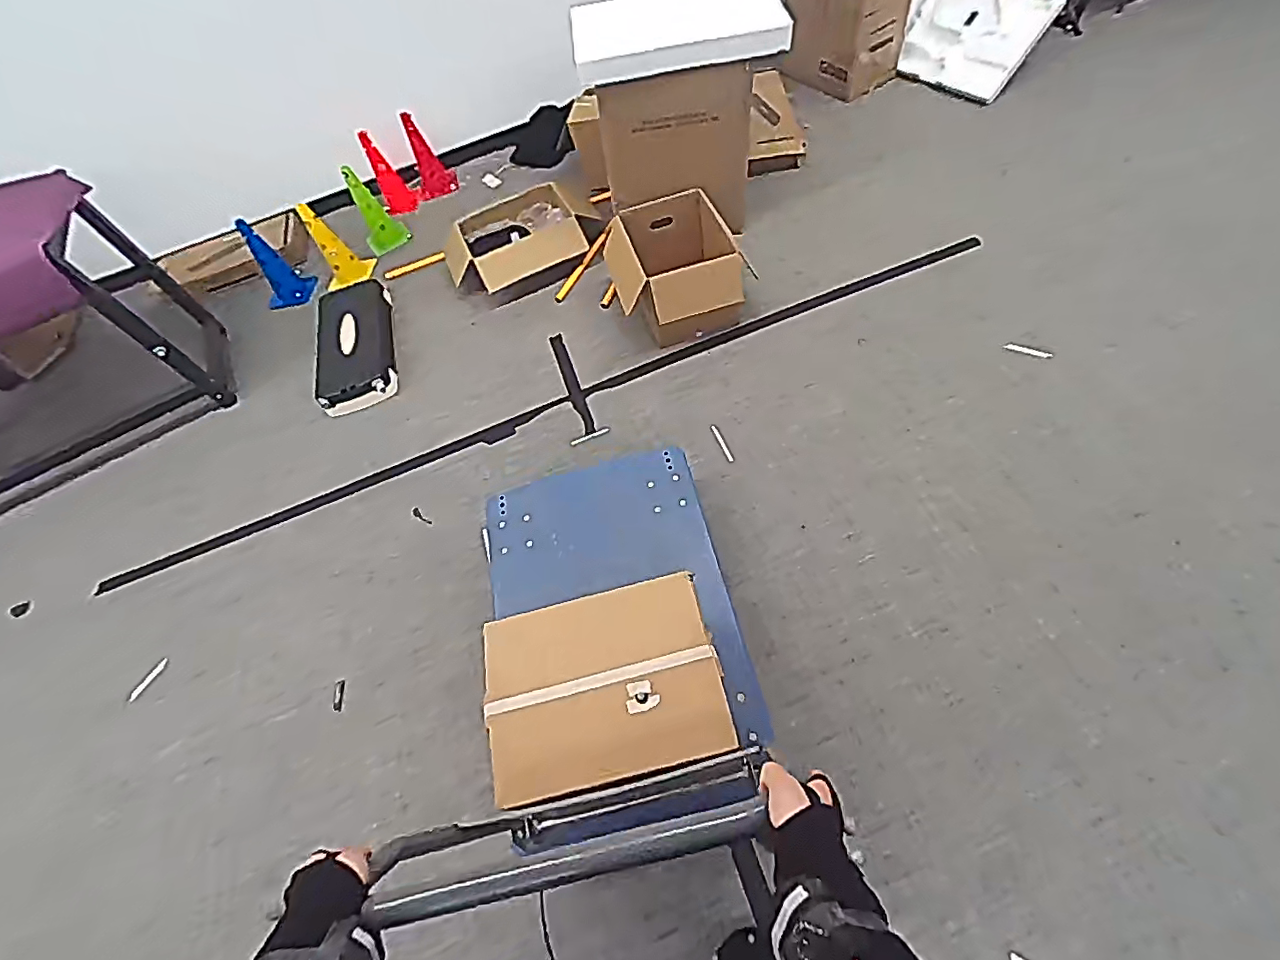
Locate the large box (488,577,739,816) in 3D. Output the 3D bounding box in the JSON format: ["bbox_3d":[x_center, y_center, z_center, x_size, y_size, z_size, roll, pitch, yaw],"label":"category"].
[{"bbox_3d":[-0.045,0.437,1.066,0.408,0.320,0.320,-15,58,0],"label":"large box"}]
